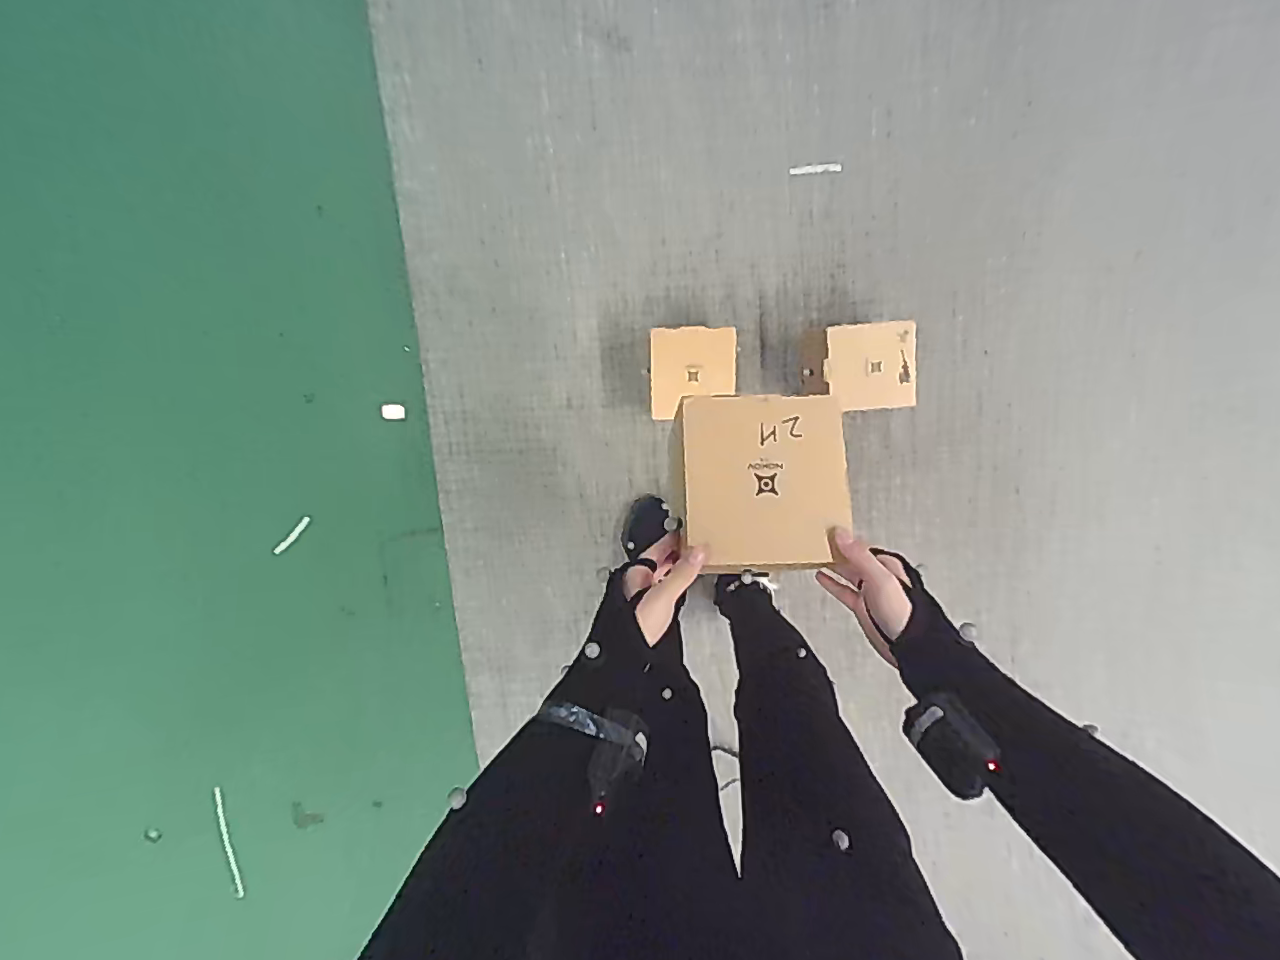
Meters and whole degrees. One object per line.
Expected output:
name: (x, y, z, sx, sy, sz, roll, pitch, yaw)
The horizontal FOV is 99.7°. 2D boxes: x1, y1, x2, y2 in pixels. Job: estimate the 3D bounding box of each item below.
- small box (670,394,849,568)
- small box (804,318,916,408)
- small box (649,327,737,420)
small box: (0.124, 0.012, 0.629, 0.168, 0.176, 0.179, -1, 77, -2)
small box: (0.447, -0.236, 1.123, 0.179, 0.176, 0.168, -5, 100, 0)
small box: (0.105, -0.218, 1.122, 0.168, 0.176, 0.179, -2, 98, -1)
